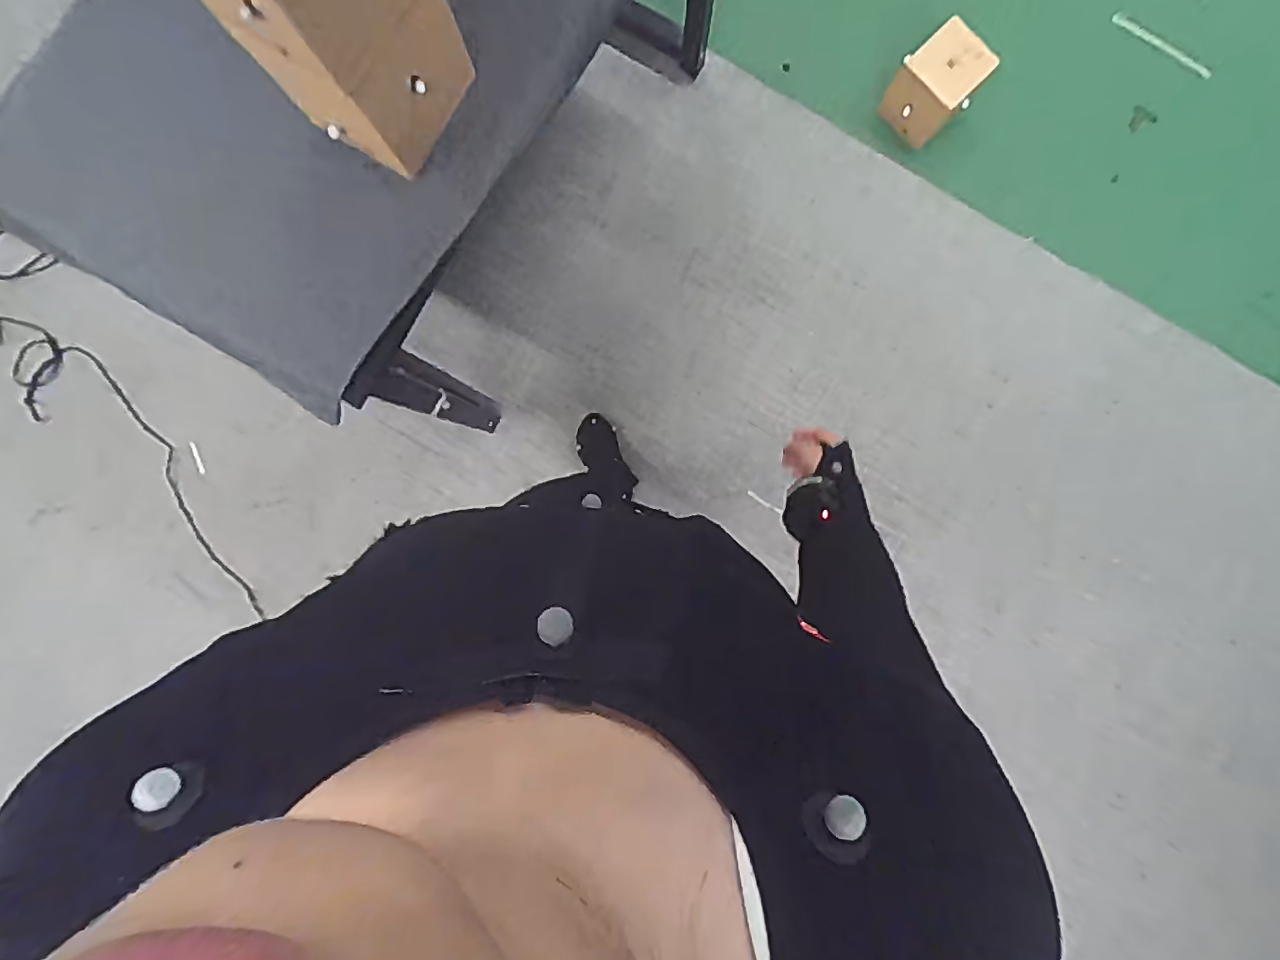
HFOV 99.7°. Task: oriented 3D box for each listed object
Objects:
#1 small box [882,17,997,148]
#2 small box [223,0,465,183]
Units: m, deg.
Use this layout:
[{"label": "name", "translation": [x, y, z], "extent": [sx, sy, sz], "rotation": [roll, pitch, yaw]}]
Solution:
[{"label": "small box", "translation": [0.760, -1.017, 1.402], "extent": [0.179, 0.176, 0.168], "rotation": [-44, 91, -1]}, {"label": "small box", "translation": [-0.337, -0.516, 0.660], "extent": [0.168, 0.176, 0.179], "rotation": [31, 90, 0]}]
